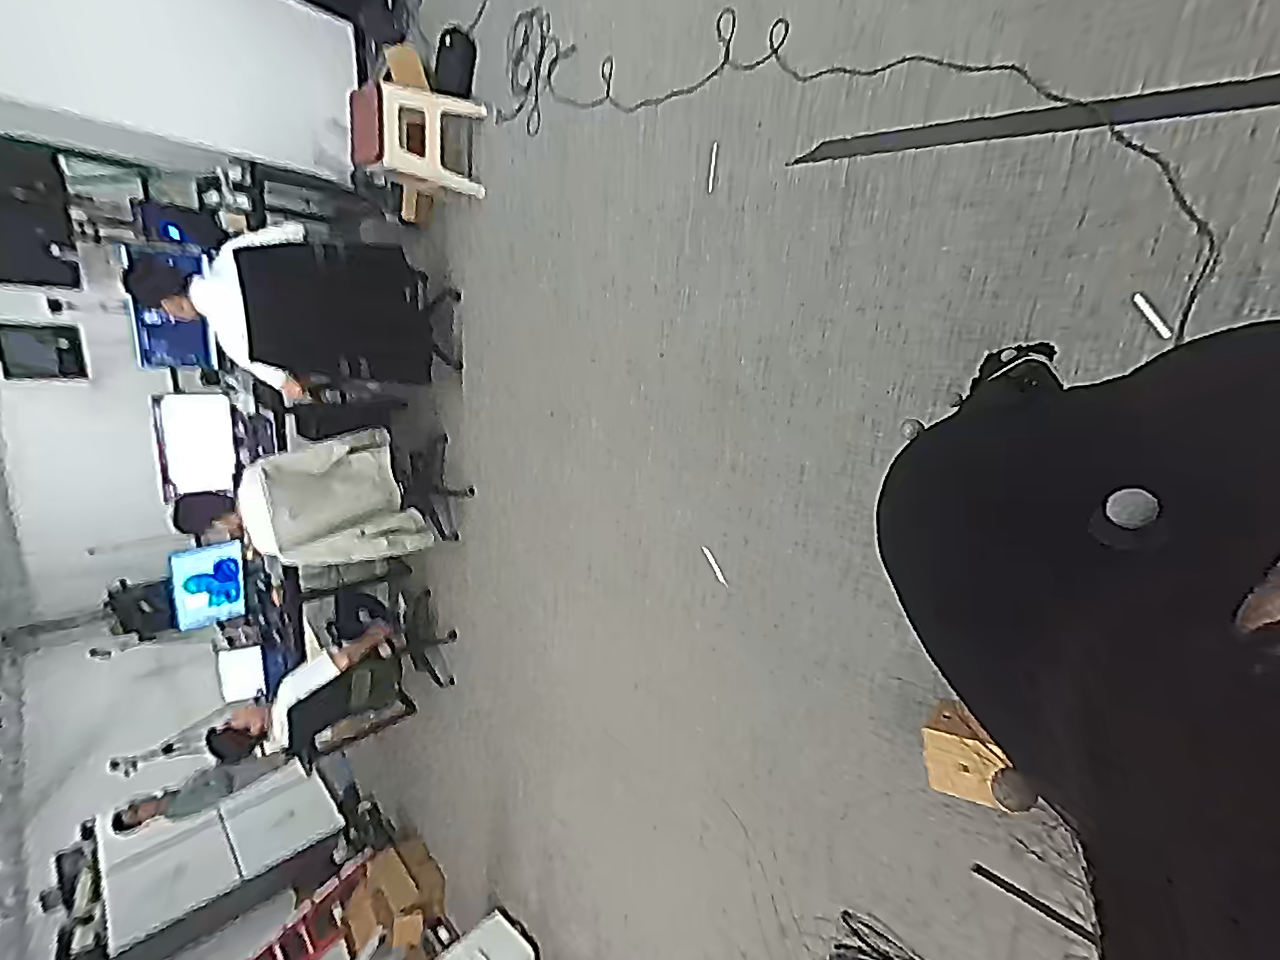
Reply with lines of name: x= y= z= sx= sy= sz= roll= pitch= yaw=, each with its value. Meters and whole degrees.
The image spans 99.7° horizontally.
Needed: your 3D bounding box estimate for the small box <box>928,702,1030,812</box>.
small box: x=0.849 y=0.680 z=1.353 sx=0.179 sy=0.176 sz=0.168 roll=-6 pitch=95 yaw=44
